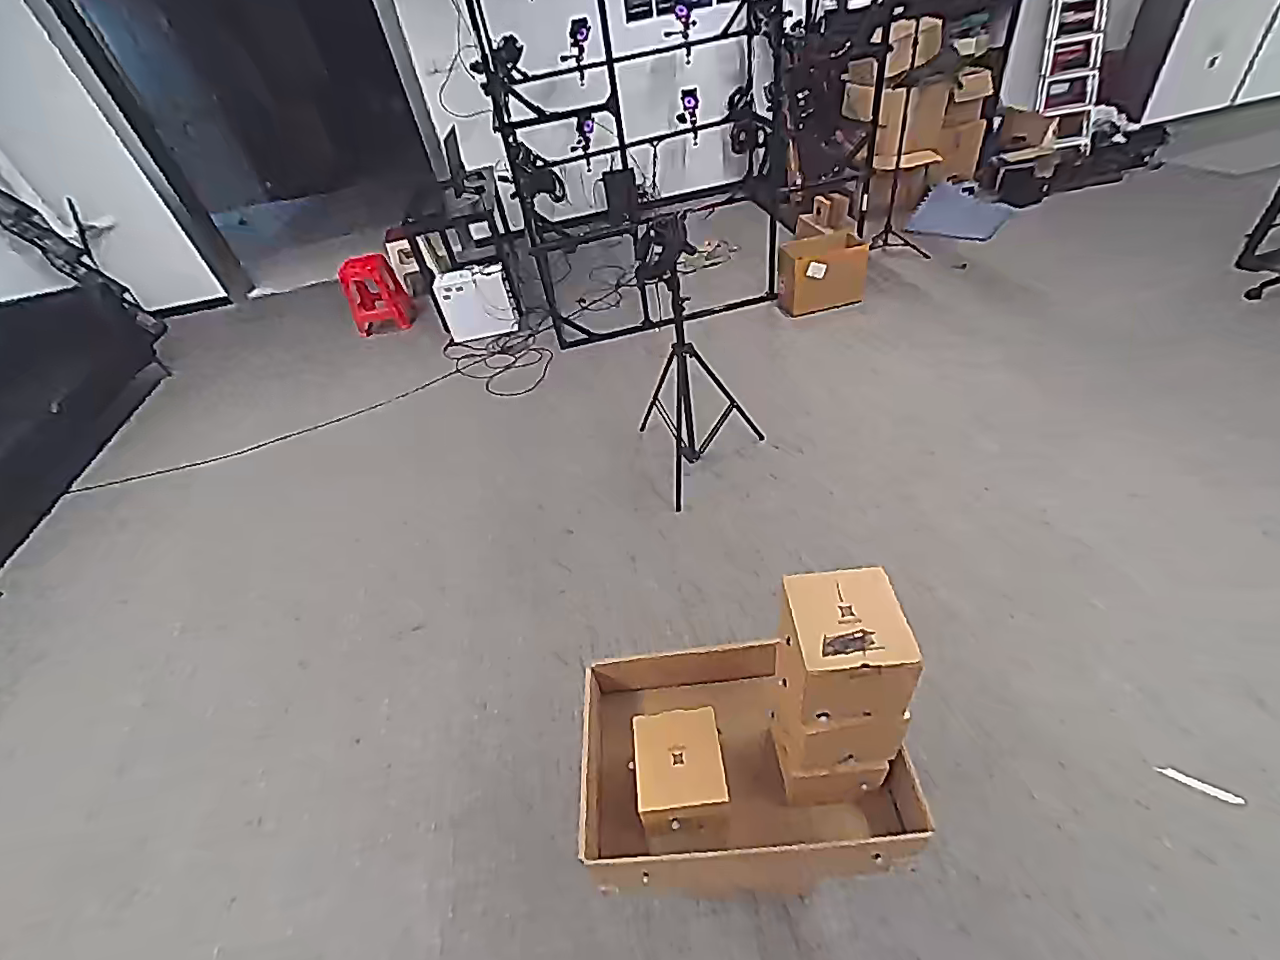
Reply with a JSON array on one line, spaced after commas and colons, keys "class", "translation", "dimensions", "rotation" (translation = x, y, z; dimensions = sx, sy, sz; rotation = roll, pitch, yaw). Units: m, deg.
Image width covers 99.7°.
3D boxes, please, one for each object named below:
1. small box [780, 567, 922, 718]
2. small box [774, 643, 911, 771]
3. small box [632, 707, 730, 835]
[{"class": "small box", "translation": [0.324, 0.266, 0.869], "dimensions": [0.168, 0.176, 0.179], "rotation": [-6, 41, 5]}, {"class": "small box", "translation": [0.348, 0.398, 0.967], "dimensions": [0.179, 0.176, 0.168], "rotation": [-8, 41, 1]}, {"class": "small box", "translation": [0.081, 0.581, 1.072], "dimensions": [0.168, 0.176, 0.179], "rotation": [-9, 41, 2]}]
